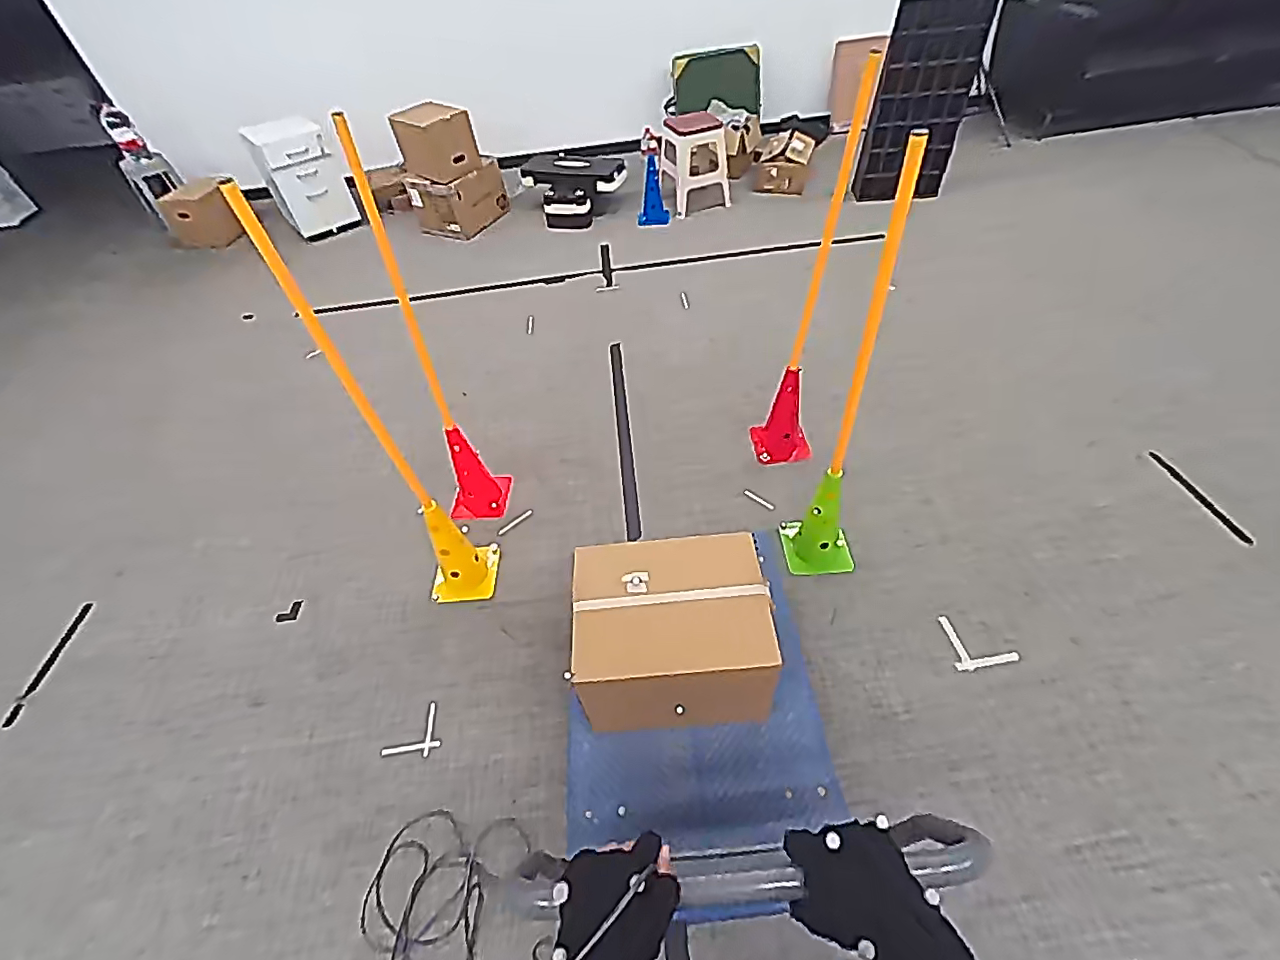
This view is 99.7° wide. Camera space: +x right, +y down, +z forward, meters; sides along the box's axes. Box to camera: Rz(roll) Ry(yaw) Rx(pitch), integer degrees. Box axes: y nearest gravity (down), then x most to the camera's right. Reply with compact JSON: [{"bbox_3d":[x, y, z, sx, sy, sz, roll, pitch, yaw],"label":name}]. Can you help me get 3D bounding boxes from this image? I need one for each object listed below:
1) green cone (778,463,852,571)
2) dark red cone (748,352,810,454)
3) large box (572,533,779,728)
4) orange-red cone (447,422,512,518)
[{"bbox_3d":[0.548,0.090,1.613,0.202,0.368,0.200,-4,48,1],"label":"green cone"},{"bbox_3d":[0.517,-0.281,1.925,0.201,0.394,0.202,-6,48,-2],"label":"dark red cone"},{"bbox_3d":[0.073,0.351,1.238,0.408,0.320,0.320,-6,48,2],"label":"large box"},{"bbox_3d":[-0.593,-0.056,1.869,0.198,0.360,0.199,-1,47,4],"label":"orange-red cone"}]
